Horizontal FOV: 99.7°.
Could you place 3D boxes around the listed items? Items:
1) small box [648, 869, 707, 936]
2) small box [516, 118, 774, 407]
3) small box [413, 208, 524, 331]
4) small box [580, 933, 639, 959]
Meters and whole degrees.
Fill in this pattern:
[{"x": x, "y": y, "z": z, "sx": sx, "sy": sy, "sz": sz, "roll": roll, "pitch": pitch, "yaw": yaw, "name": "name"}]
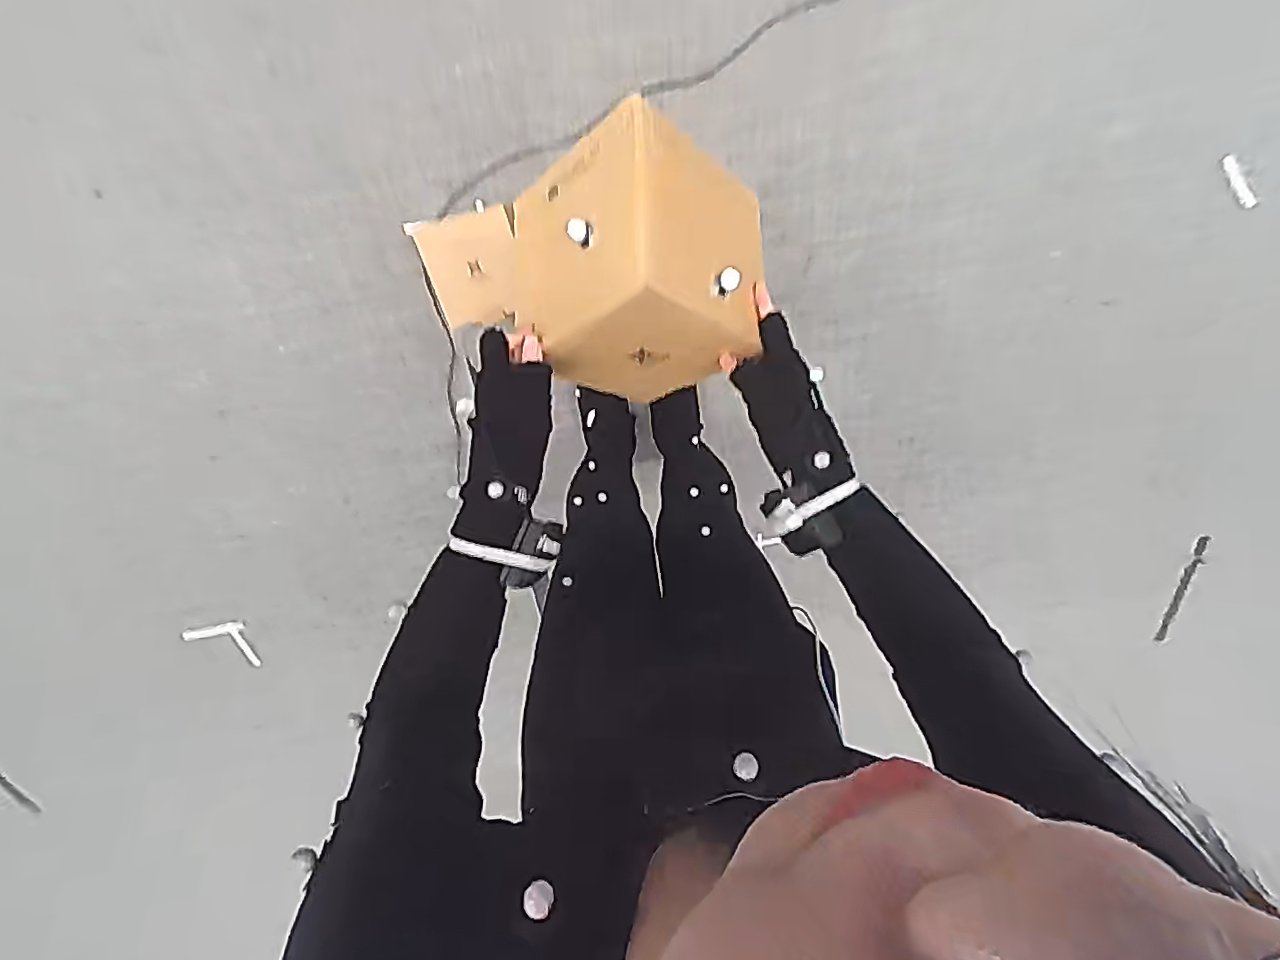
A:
[{"x": 0.122, "y": 1.409, "z": 1.776, "sx": 0.168, "sy": 0.176, "sz": 0.179, "roll": -9, "pitch": 118, "yaw": 2, "name": "small box"}, {"x": 0.001, "y": -0.184, "z": 0.498, "sx": 0.168, "sy": 0.176, "sz": 0.179, "roll": -14, "pitch": 165, "yaw": 42, "name": "small box"}, {"x": -0.292, "y": -0.401, "z": 1.021, "sx": 0.168, "sy": 0.176, "sz": 0.179, "roll": -13, "pitch": 117, "yaw": 3, "name": "small box"}, {"x": -0.089, "y": 1.512, "z": 1.631, "sx": 0.168, "sy": 0.176, "sz": 0.179, "roll": -7, "pitch": 117, "yaw": 1, "name": "small box"}]
